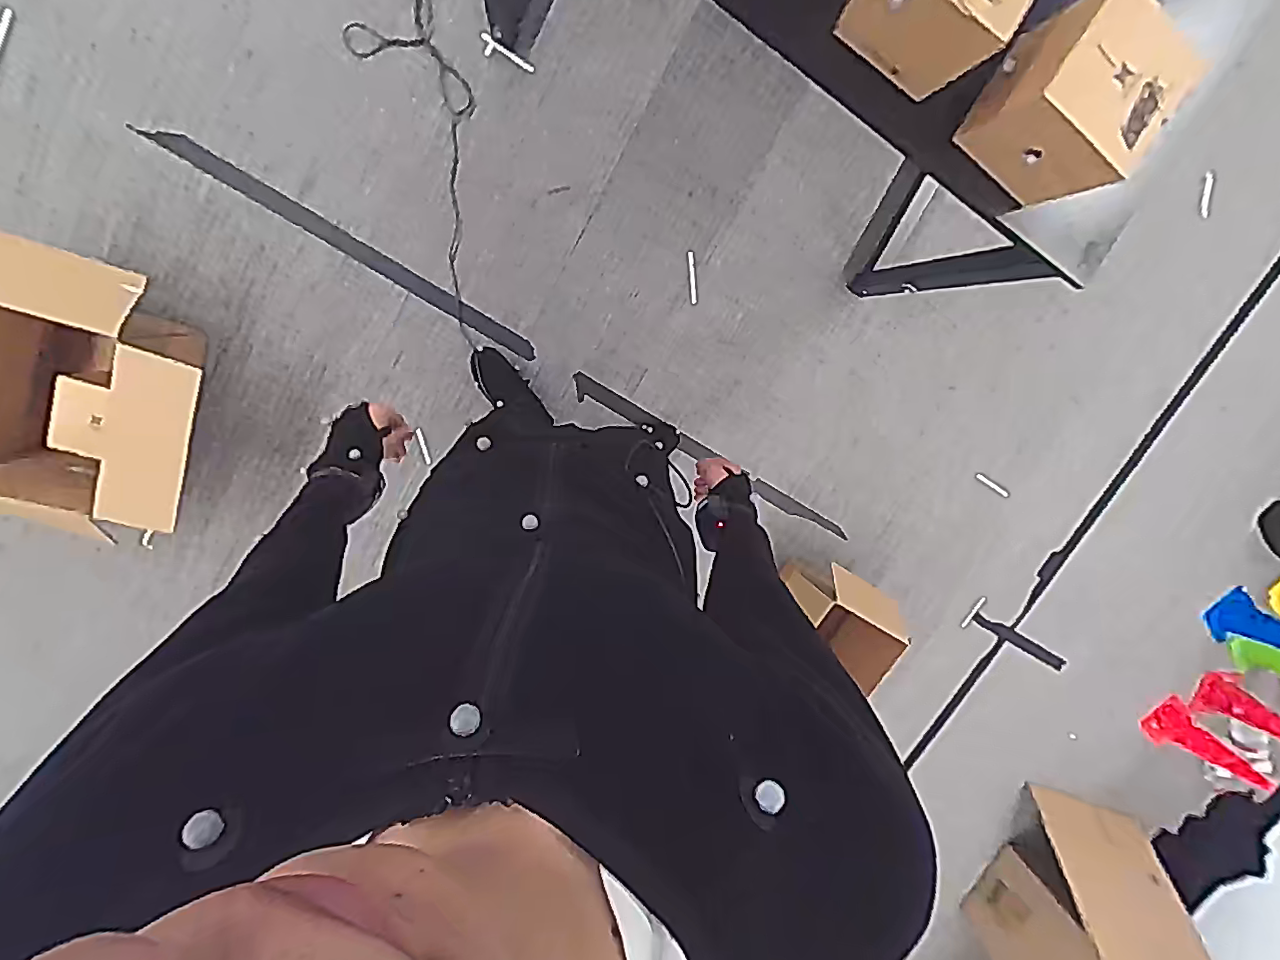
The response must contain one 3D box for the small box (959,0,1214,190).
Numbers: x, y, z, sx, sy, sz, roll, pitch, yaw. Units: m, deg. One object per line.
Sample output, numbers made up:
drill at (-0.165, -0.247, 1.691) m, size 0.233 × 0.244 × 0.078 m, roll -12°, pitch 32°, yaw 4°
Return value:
small box at (0.602, -0.534, 0.751) m, size 0.179 × 0.176 × 0.168 m, roll 30°, pitch 99°, yaw -14°
